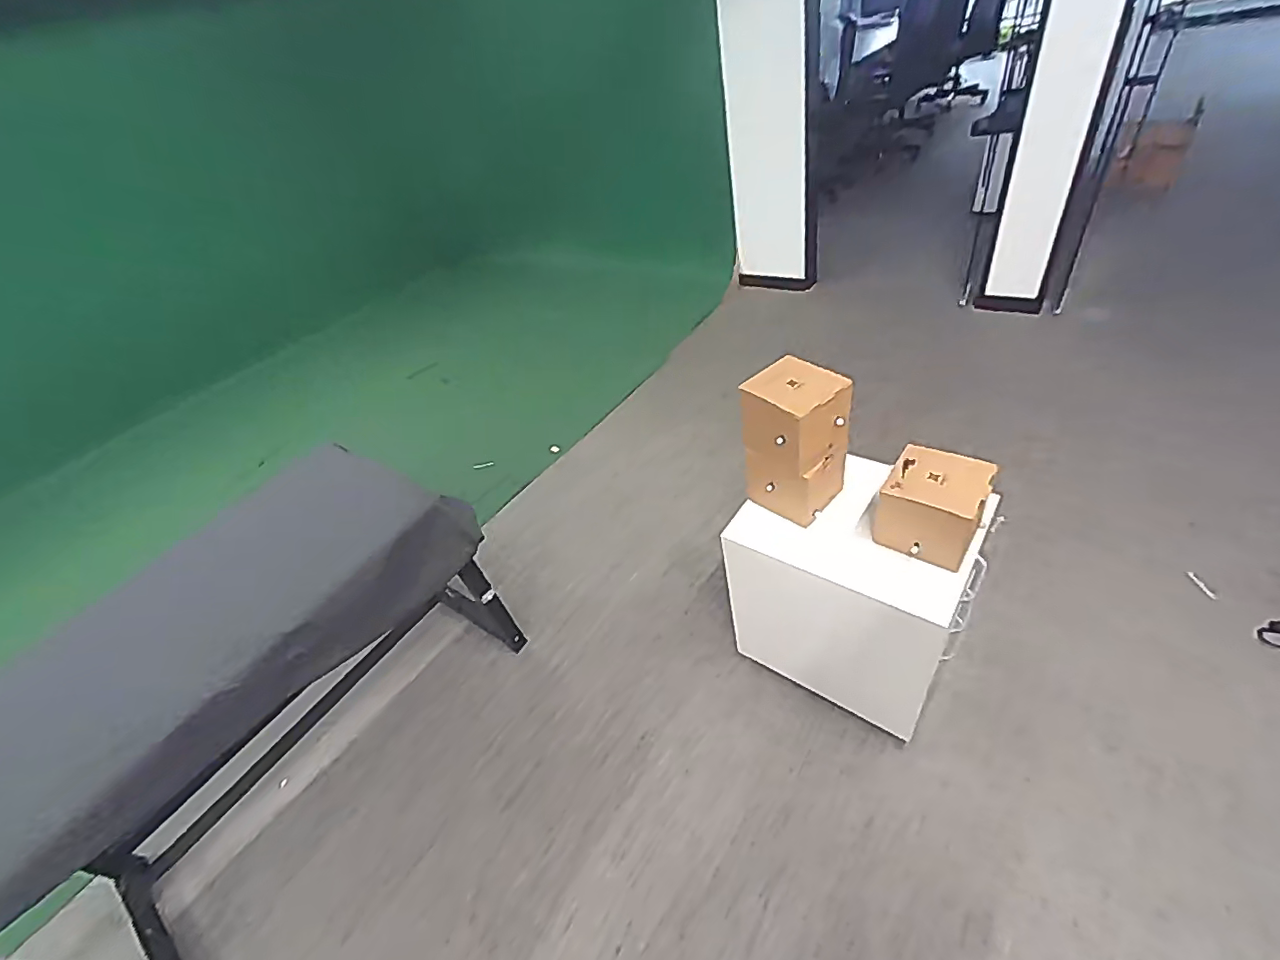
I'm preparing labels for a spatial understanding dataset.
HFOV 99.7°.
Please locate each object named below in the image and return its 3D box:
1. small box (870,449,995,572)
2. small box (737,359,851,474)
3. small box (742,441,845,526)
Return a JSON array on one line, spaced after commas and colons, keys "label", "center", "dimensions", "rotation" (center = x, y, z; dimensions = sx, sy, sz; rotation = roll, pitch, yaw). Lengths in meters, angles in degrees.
[{"label": "small box", "center": [0.611, 0.068, 1.144], "dimensions": [0.179, 0.176, 0.168], "rotation": [23, 52, 33]}, {"label": "small box", "center": [0.336, -0.136, 1.194], "dimensions": [0.168, 0.176, 0.179], "rotation": [-32, 44, -23]}, {"label": "small box", "center": [0.366, -0.015, 1.298], "dimensions": [0.168, 0.176, 0.179], "rotation": [-38, 47, -27]}]
